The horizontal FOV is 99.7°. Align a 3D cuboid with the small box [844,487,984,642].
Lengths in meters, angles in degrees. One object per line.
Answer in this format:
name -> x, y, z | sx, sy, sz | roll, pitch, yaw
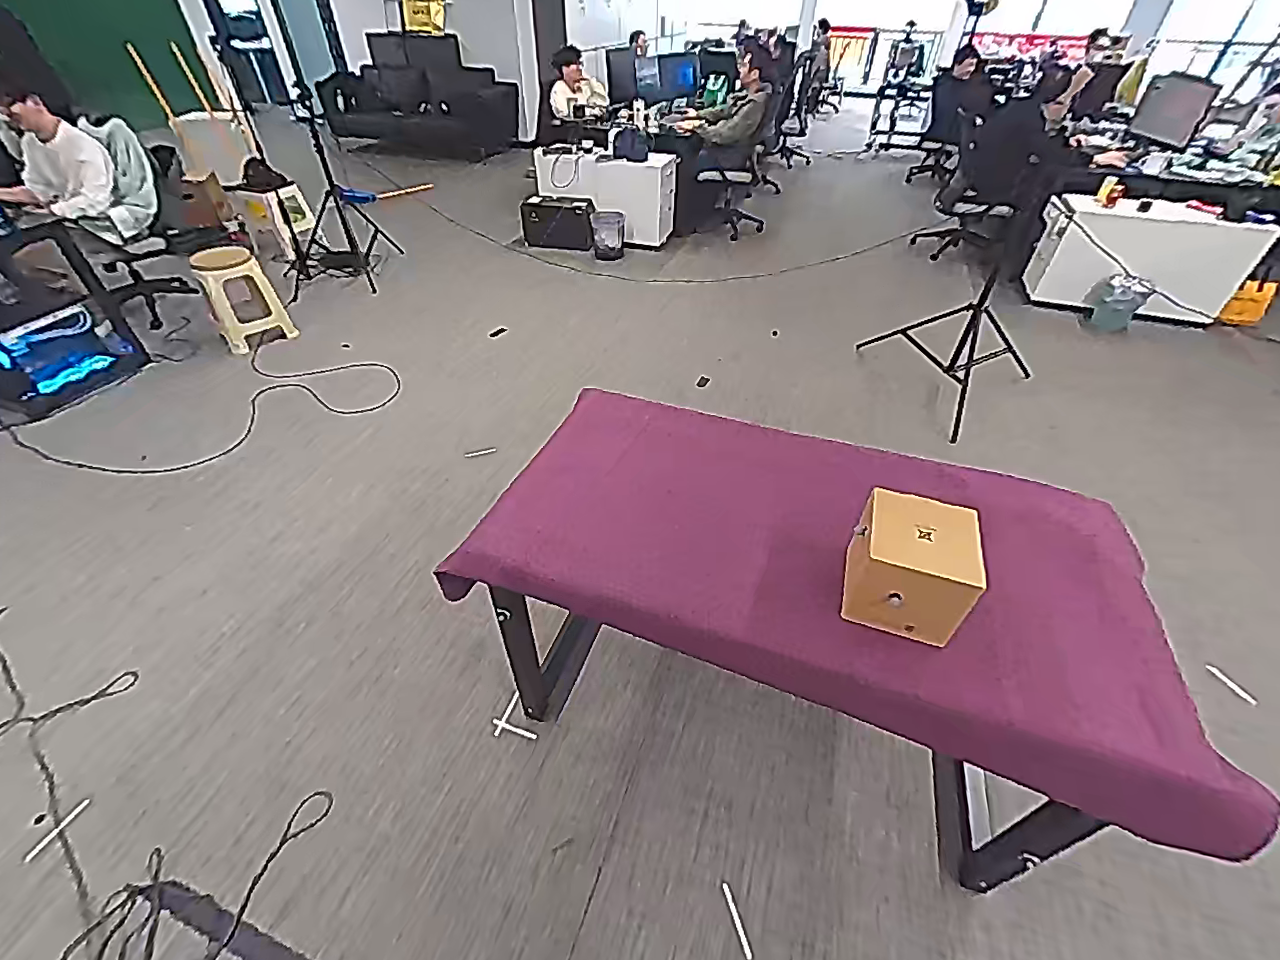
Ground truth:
small box -> 0.454, 0.144, 0.918 | 0.168, 0.176, 0.179 | 14, 43, 15
